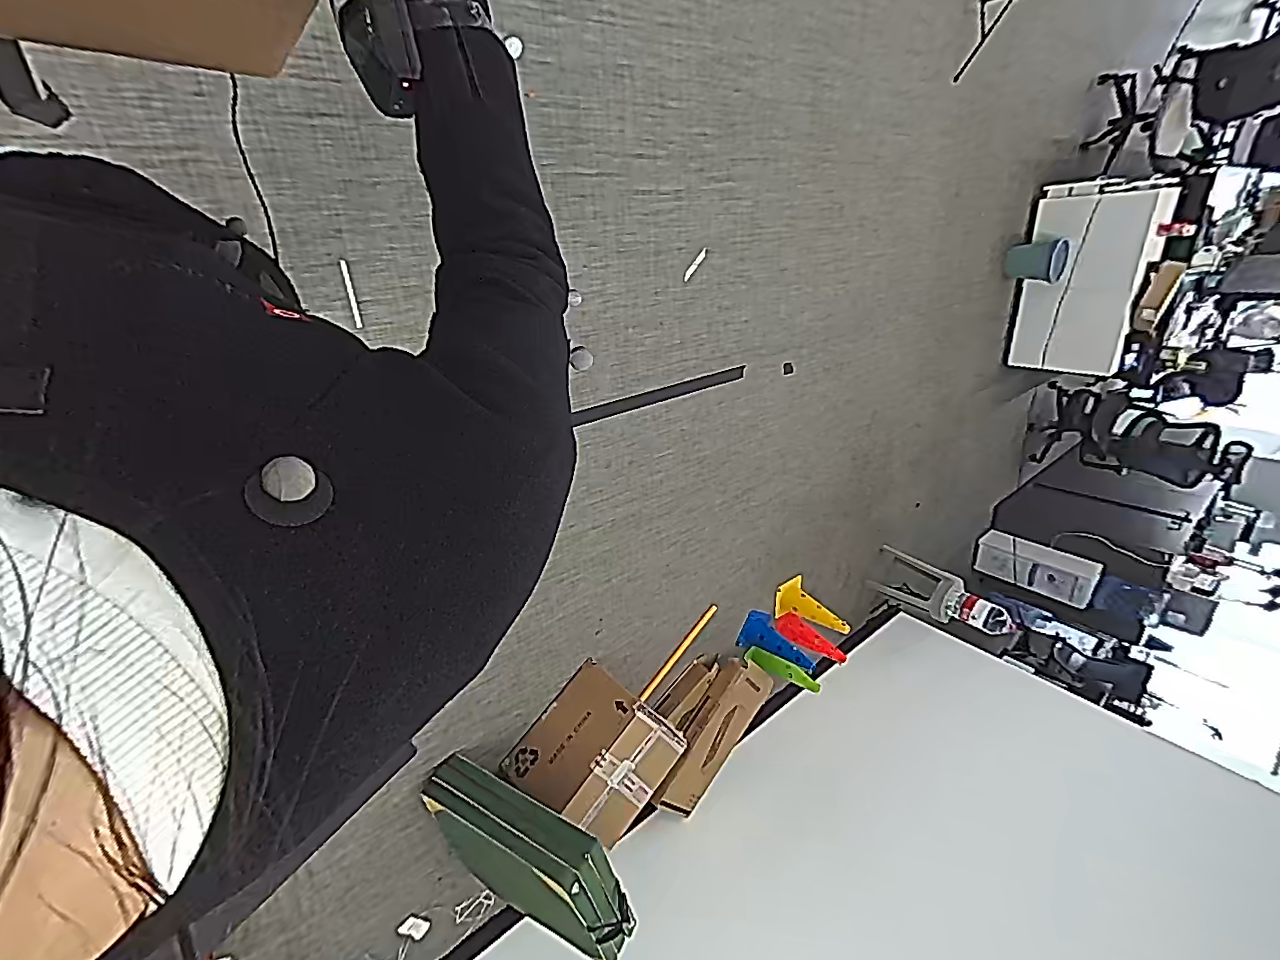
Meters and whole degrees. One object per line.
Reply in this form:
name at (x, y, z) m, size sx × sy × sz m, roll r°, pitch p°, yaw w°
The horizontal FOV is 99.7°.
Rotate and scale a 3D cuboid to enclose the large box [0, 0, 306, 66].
large box at (-0.419, -0.435, 0.243) m, size 0.408 × 0.320 × 0.320 m, roll -18°, pitch 121°, yaw -35°
